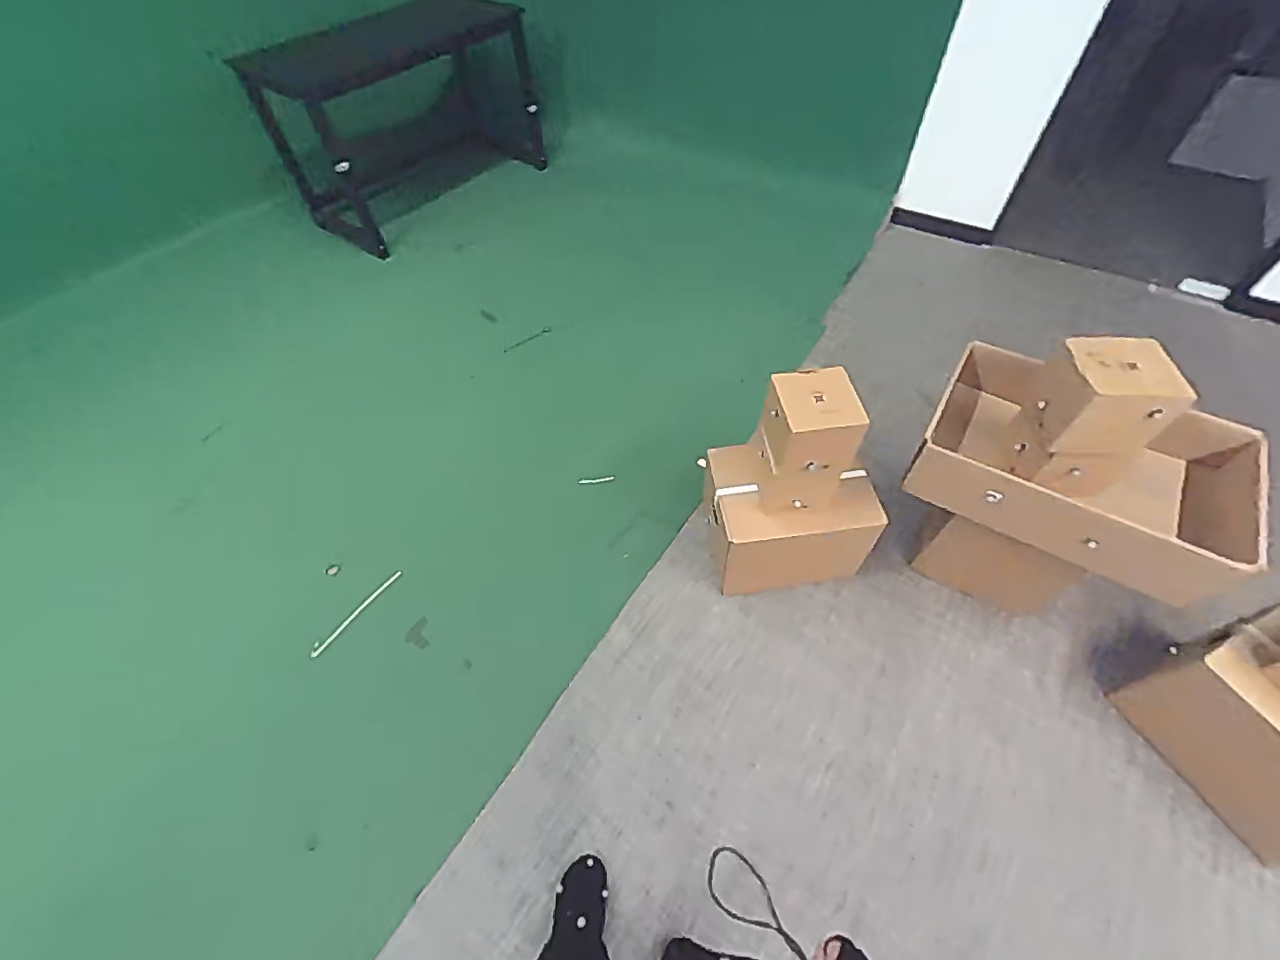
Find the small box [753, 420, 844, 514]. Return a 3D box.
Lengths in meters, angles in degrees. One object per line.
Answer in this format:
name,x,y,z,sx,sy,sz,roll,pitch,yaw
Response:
small box,0.386,-0.036,1.351,0.168,0.176,0.179,-5,54,0

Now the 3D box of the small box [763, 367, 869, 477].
small box,0.384,-0.128,1.216,0.168,0.176,0.179,-7,54,-1

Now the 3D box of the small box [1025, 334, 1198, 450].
small box,0.928,-0.173,1.087,0.179,0.176,0.168,2,53,6
